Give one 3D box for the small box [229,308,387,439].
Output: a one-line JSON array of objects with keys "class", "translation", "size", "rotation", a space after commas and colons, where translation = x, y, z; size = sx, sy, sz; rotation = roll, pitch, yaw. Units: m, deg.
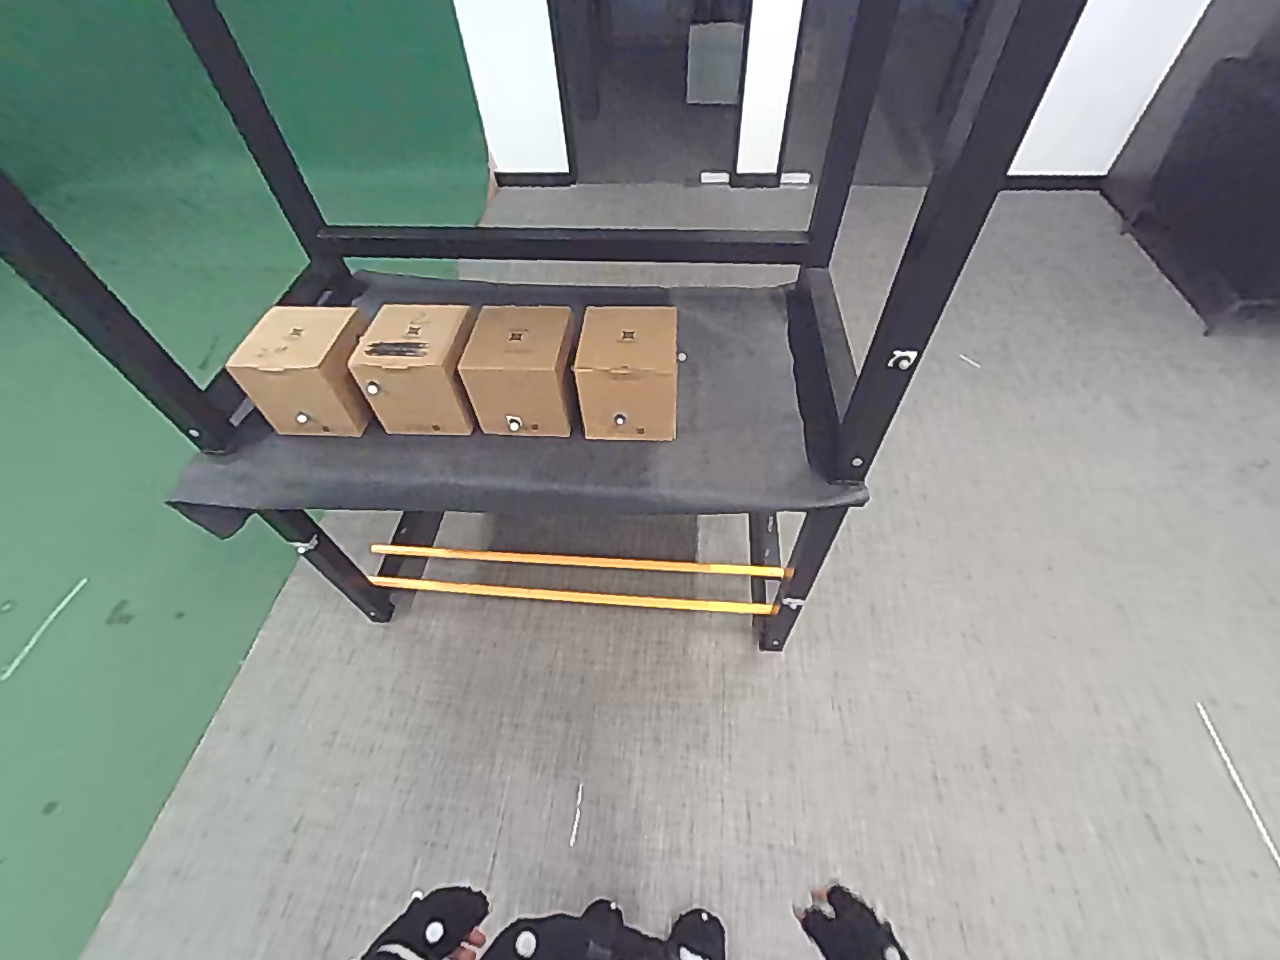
[{"class": "small box", "translation": [-0.601, -0.199, 1.011], "size": [0.168, 0.176, 0.179], "rotation": [2, 52, 3]}]
